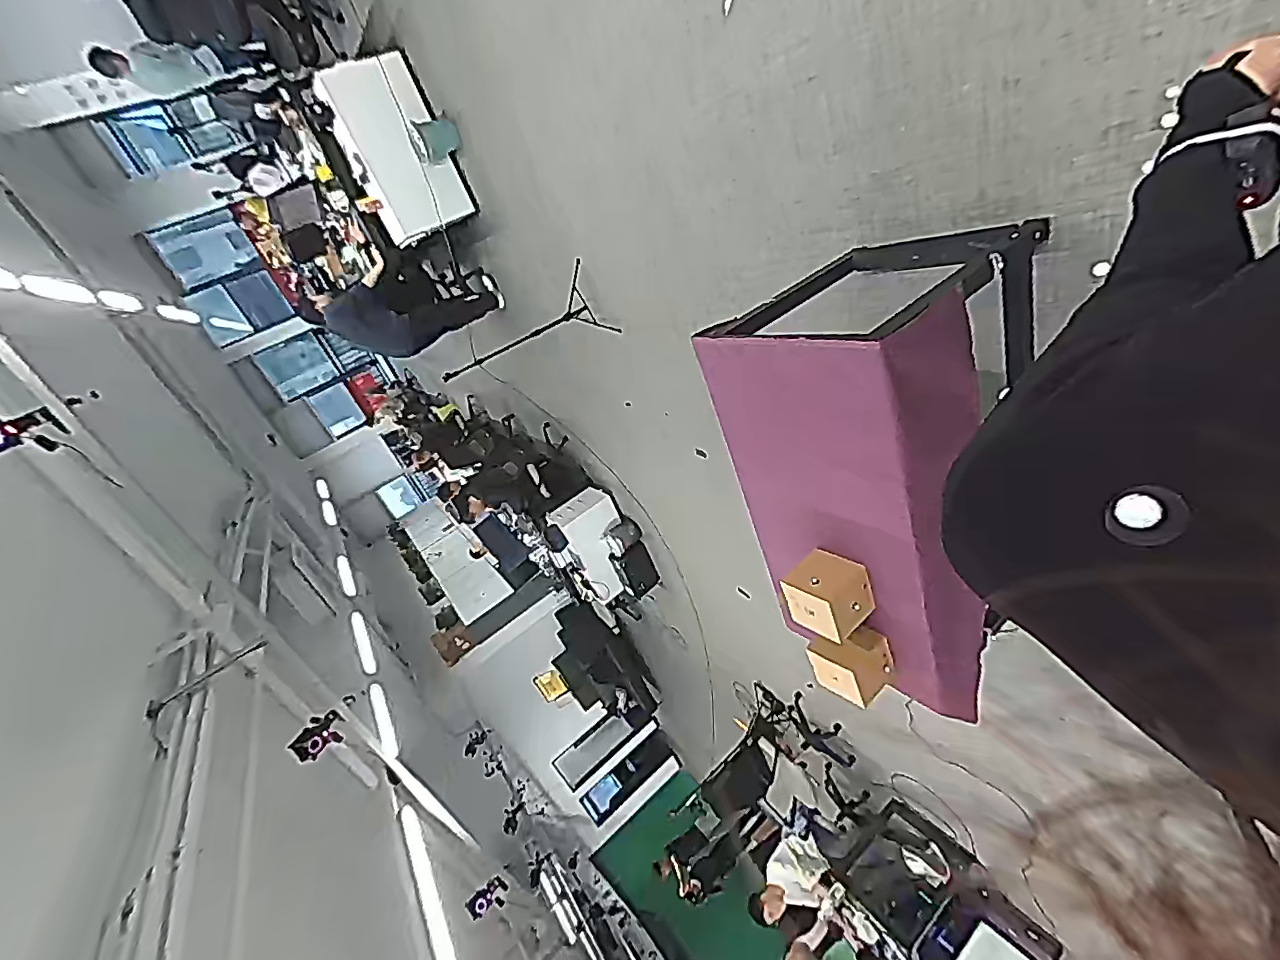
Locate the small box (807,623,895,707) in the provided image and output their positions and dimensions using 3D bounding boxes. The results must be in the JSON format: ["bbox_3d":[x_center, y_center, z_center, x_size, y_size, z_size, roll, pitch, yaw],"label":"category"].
[{"bbox_3d":[0.657,0.557,1.681,0.179,0.176,0.168,18,138,57],"label":"small box"}]

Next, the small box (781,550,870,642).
[{"bbox_3d":[0.548,0.328,1.574,0.179,0.176,0.168,20,139,55],"label":"small box"}]
